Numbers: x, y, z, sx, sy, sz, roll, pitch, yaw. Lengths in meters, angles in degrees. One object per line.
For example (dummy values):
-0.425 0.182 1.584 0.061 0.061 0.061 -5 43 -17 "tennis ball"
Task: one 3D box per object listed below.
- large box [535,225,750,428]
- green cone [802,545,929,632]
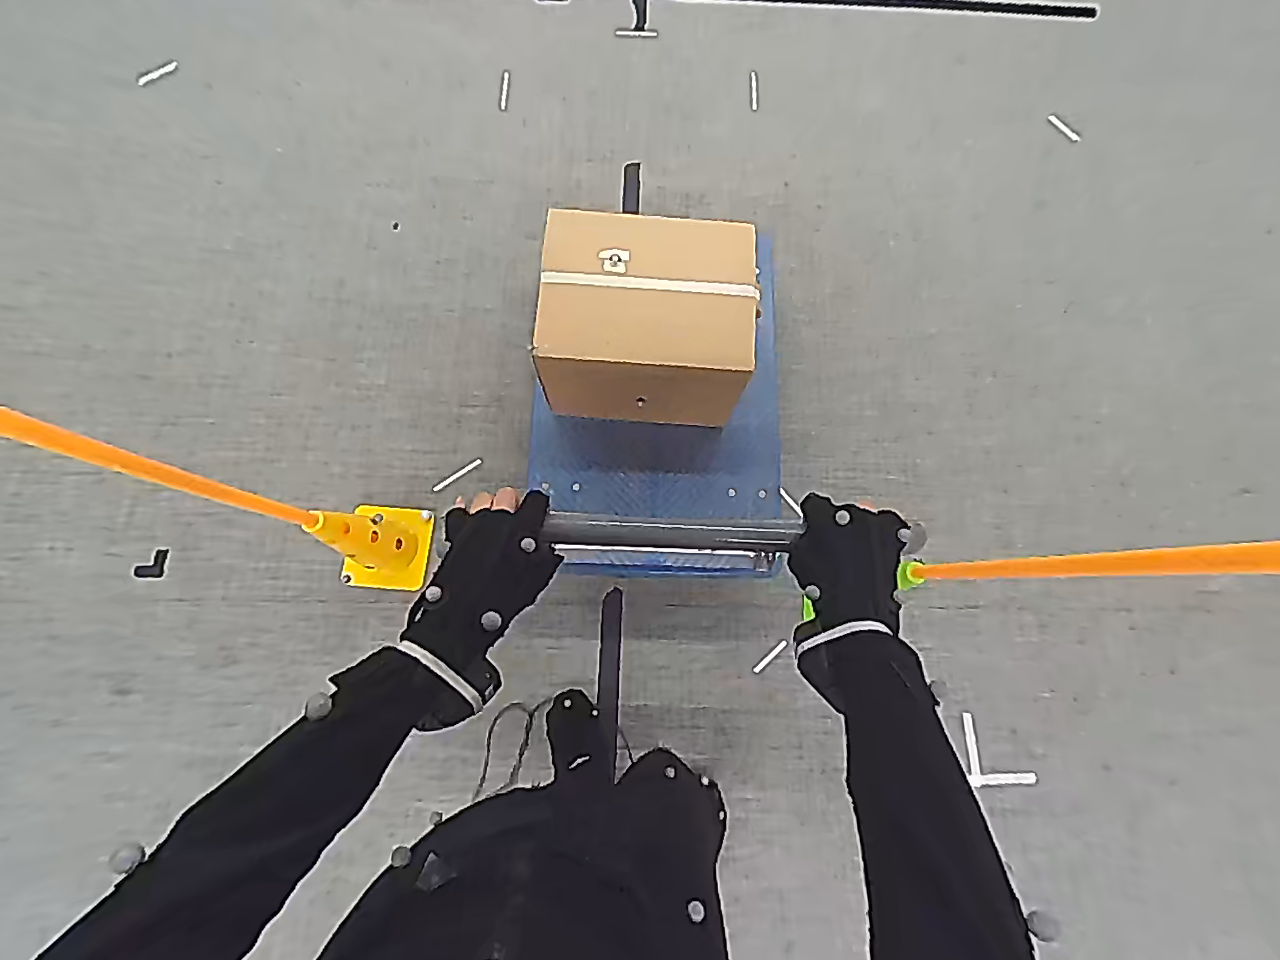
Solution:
0.010 -0.309 1.171 0.408 0.320 0.320 4 76 0 "large box"
0.513 0.227 1.190 0.202 0.368 0.200 6 75 -1 "green cone"
